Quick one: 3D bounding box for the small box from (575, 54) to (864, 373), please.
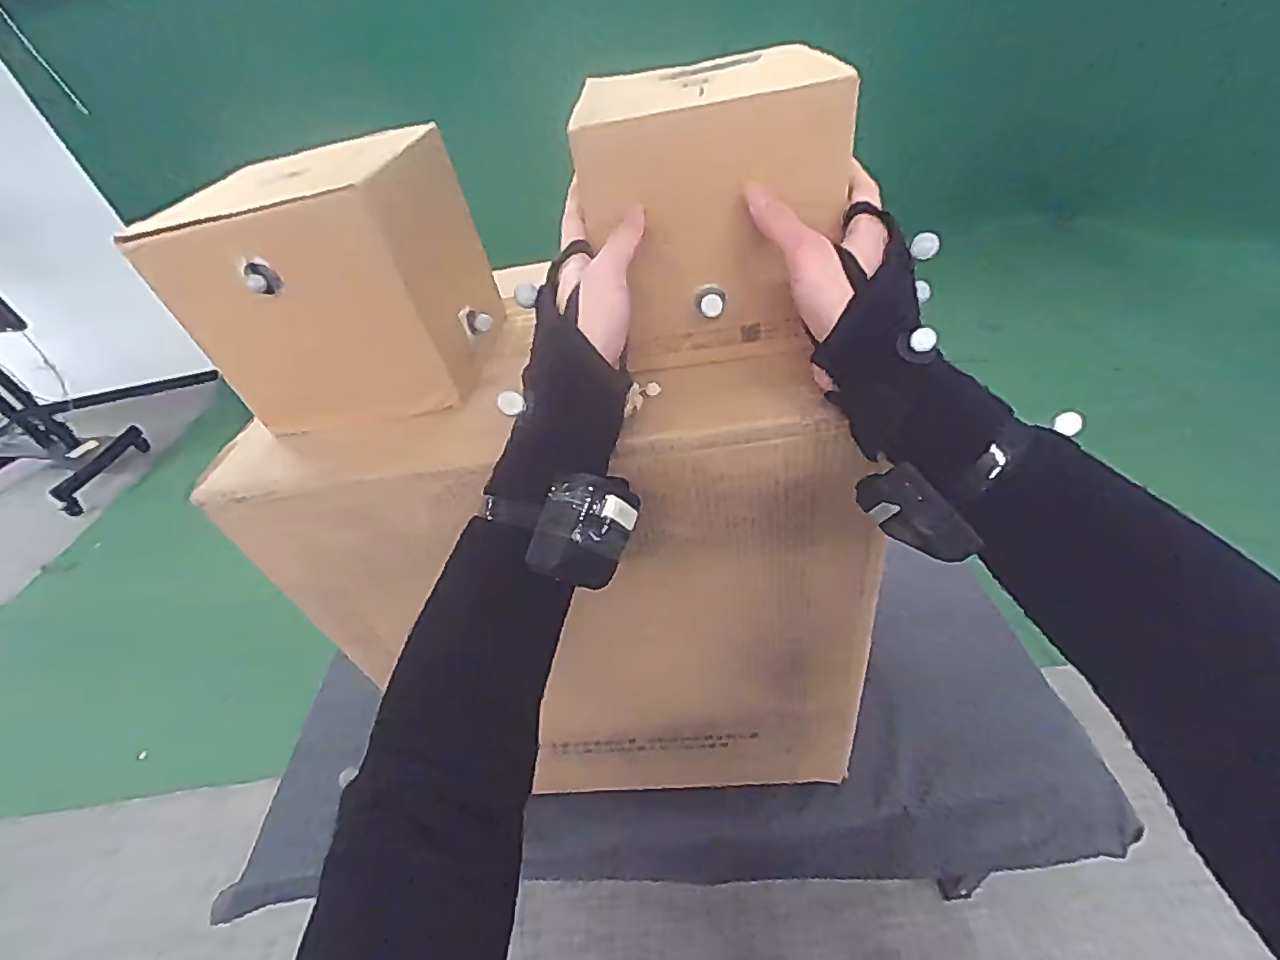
[{"bbox_3d":[0.054,-0.204,0.418,0.168,0.176,0.179,-6,43,6],"label":"small box"}]

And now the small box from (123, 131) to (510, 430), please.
[{"bbox_3d":[-0.229,-0.156,0.442,0.179,0.176,0.168,-6,44,8],"label":"small box"}]
